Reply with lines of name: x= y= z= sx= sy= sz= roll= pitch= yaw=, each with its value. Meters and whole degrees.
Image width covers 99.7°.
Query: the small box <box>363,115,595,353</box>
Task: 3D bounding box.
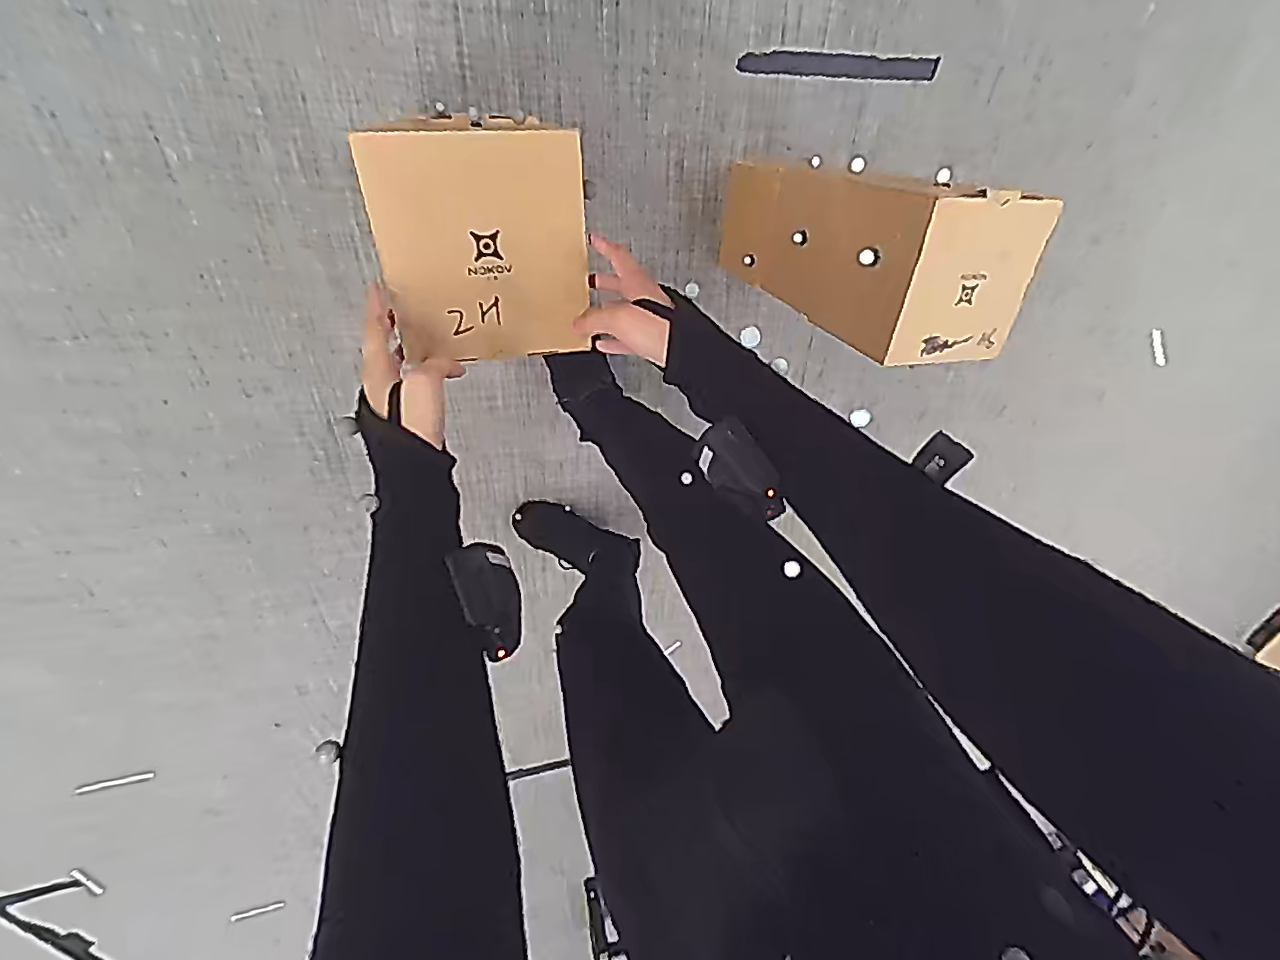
small box: x=-0.140 y=-0.236 z=0.508 sx=0.168 sy=0.176 sz=0.179 roll=-8 pitch=125 yaw=-11

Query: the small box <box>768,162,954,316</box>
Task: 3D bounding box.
small box: x=0.304 y=-0.349 z=0.782 sx=0.168 sy=0.176 sz=0.179 roll=-6 pitch=124 yaw=-15

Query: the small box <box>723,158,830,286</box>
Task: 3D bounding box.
small box: x=0.254 y=-0.436 z=0.912 sx=0.168 sy=0.176 sz=0.179 roll=-5 pitch=125 yaw=-15

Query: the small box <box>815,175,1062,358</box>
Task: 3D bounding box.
small box: x=0.334 y=-0.259 z=0.647 sx=0.168 sy=0.176 sz=0.179 roll=-6 pitch=124 yaw=-15
